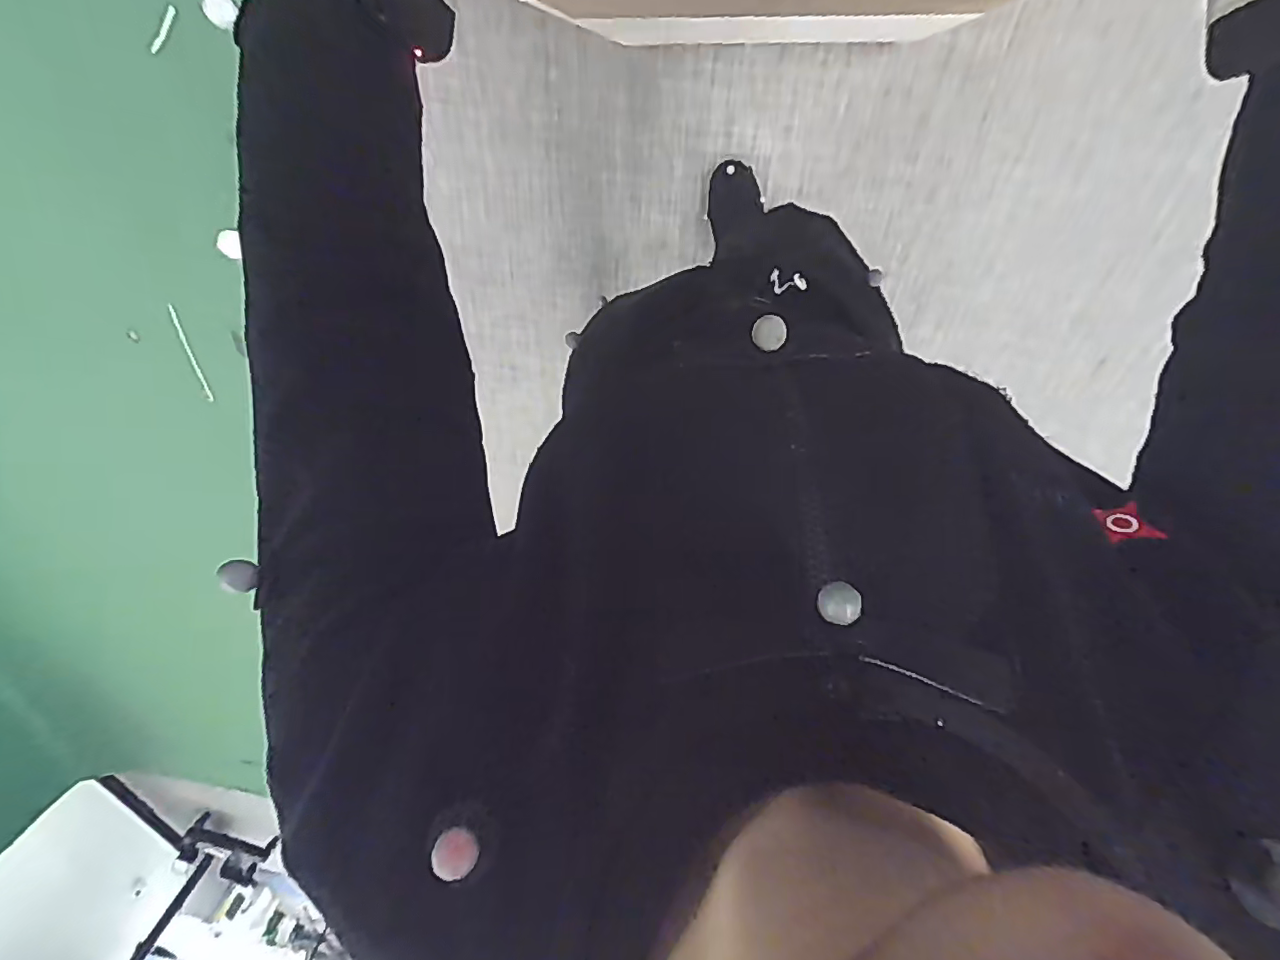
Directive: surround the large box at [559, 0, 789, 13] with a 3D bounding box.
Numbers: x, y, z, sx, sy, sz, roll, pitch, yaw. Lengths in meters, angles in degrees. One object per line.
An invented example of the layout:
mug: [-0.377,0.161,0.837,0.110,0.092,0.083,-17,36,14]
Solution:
large box: [0.100,-0.499,0.310,0.408,0.320,0.320,4,126,7]
